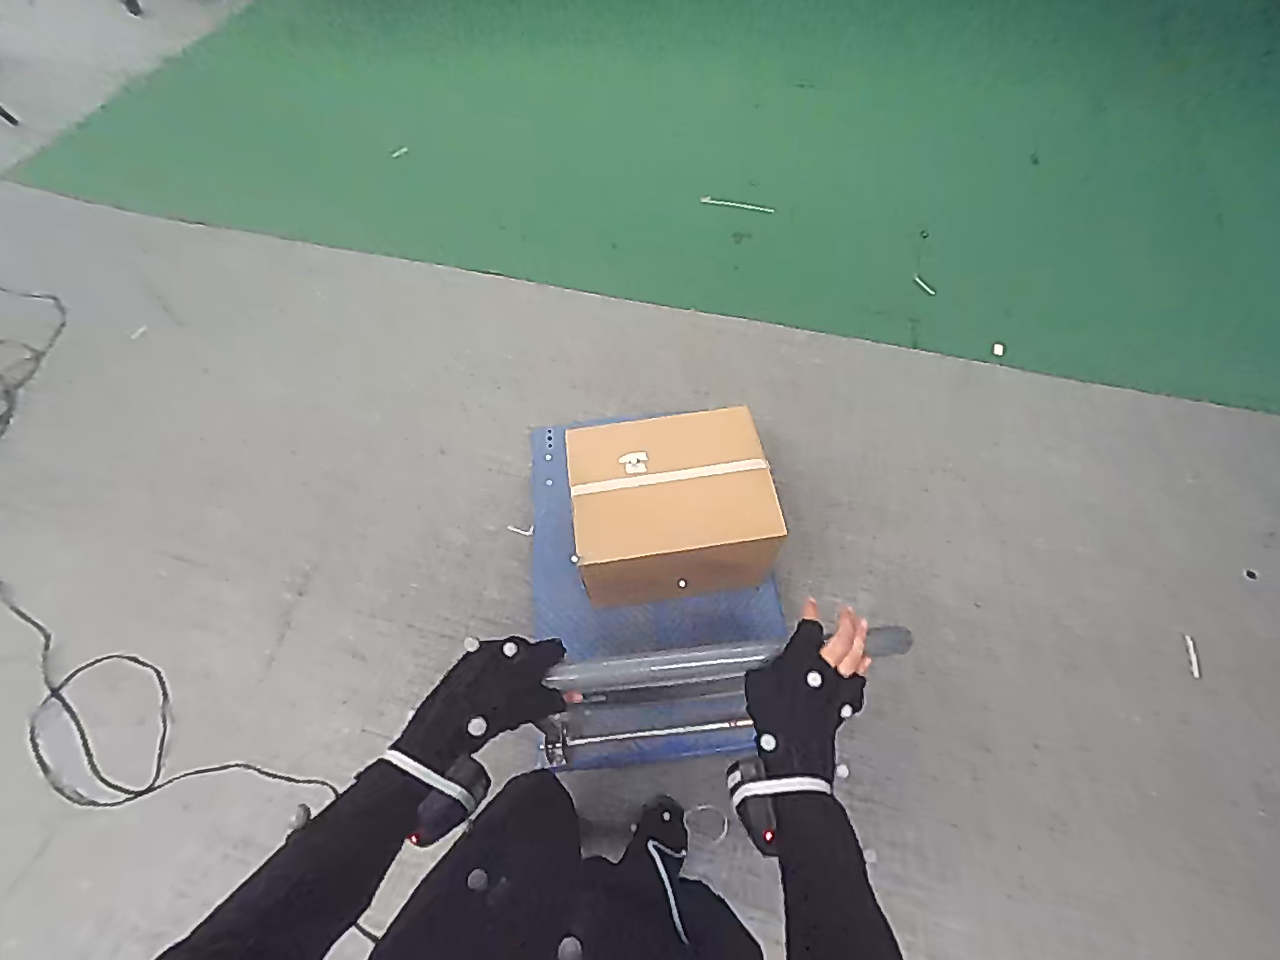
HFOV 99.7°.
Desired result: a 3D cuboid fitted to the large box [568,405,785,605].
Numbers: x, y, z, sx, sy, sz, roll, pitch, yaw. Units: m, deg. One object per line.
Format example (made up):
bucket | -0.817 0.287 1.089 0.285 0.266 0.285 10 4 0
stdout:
large box | 0.072 0.070 1.241 0.408 0.320 0.320 -10 61 -2
